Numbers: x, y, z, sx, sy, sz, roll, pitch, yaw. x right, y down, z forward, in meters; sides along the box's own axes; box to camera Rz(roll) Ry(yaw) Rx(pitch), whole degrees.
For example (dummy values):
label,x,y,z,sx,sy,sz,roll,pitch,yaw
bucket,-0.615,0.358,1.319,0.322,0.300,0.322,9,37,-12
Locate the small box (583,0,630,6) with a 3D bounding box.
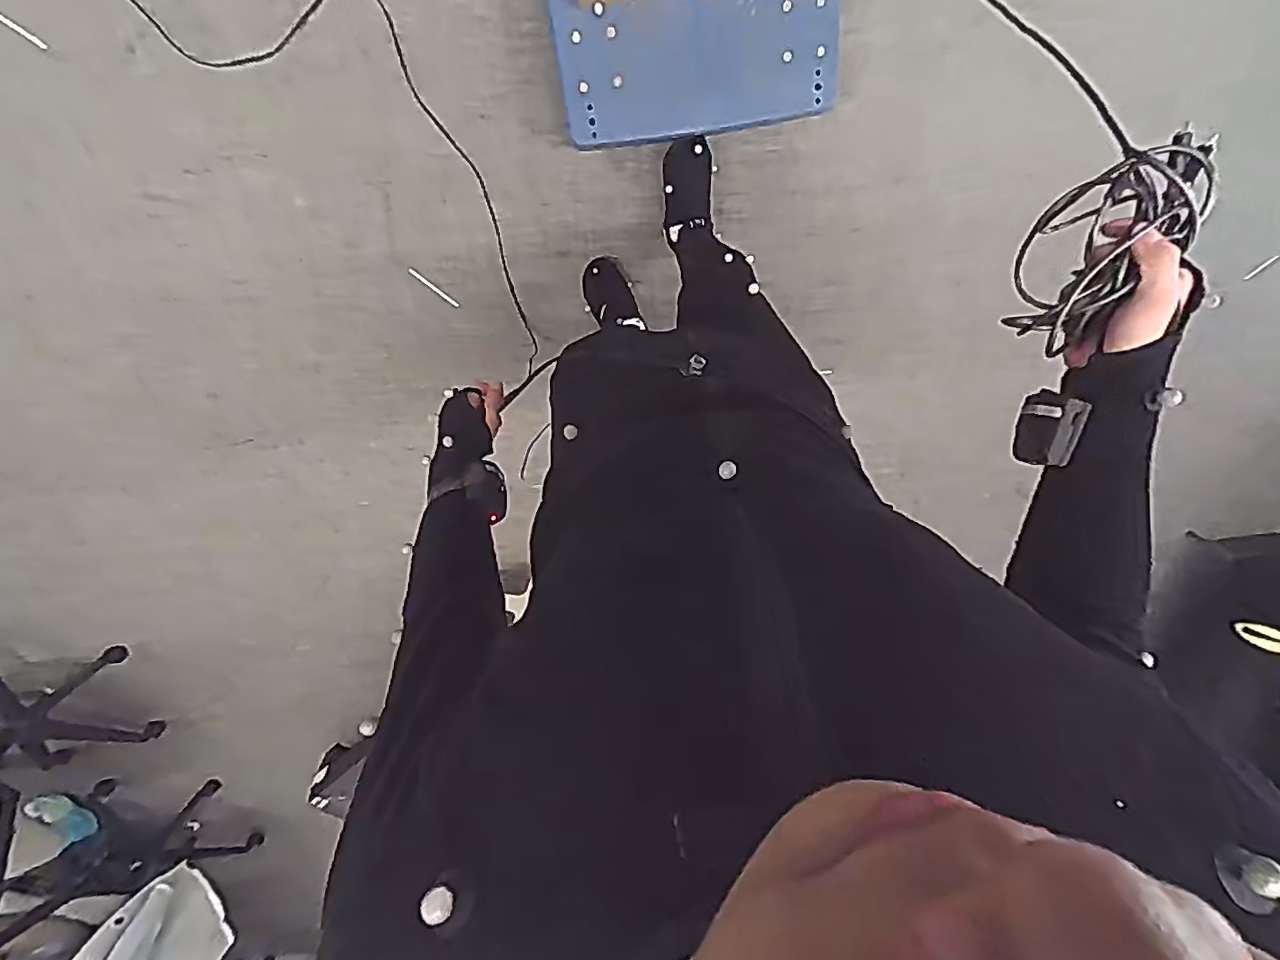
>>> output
label,x,y,z,sx,sy,sz,roll,pitch,yaw
small box,-0.035,-0.941,0.916,0.168,0.176,0.179,-12,117,-2
